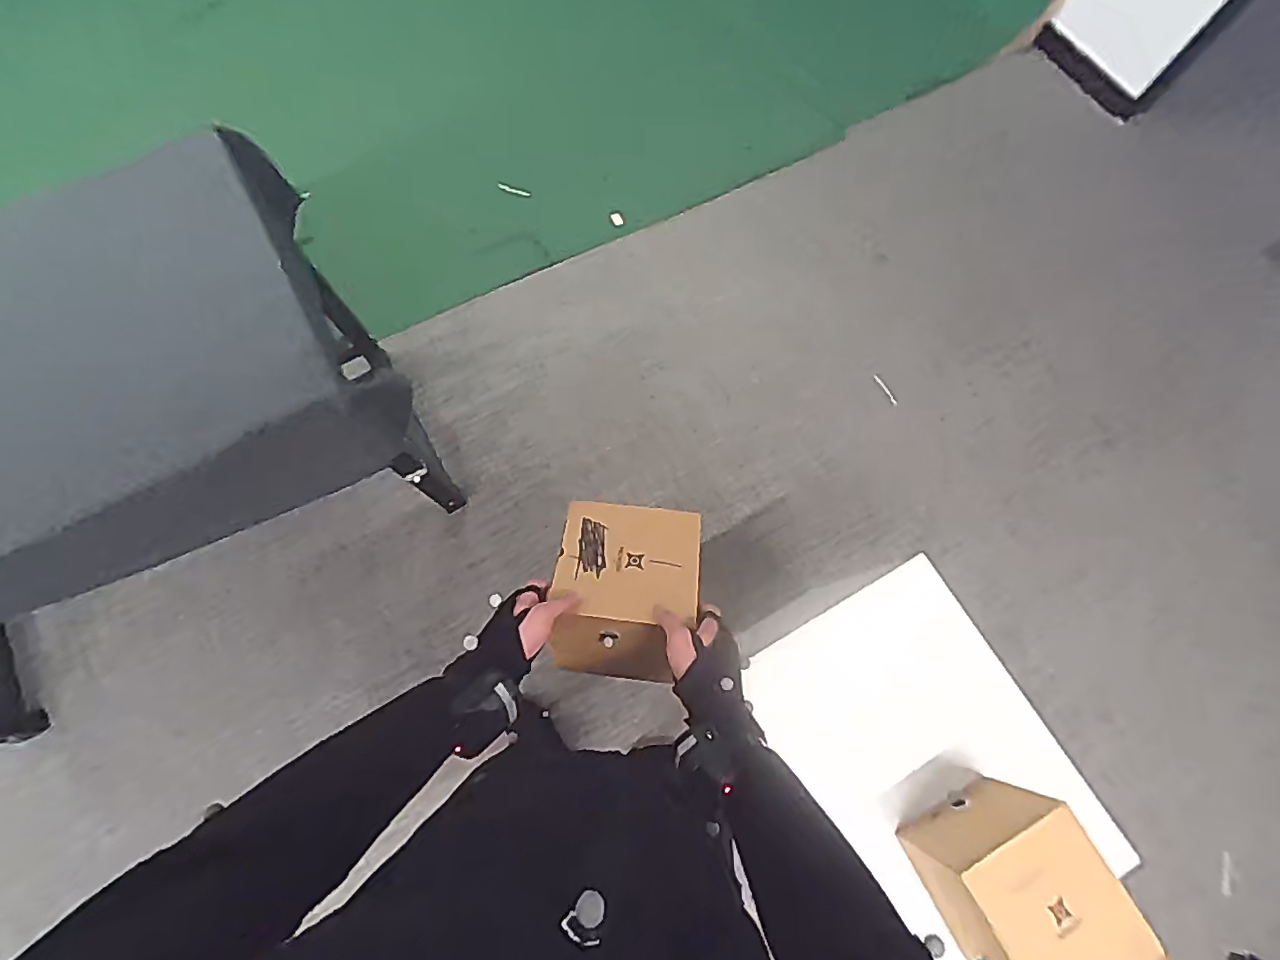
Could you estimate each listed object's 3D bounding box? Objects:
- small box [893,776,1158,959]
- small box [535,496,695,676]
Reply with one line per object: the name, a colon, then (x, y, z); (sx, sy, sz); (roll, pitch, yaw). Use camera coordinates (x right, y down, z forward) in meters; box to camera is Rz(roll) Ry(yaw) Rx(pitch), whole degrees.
small box: (0.469, 0.514, 0.689); (0.168, 0.176, 0.179); (-26, 74, -10)
small box: (-0.026, 0.142, 0.710); (0.179, 0.176, 0.168); (6, 50, 2)
